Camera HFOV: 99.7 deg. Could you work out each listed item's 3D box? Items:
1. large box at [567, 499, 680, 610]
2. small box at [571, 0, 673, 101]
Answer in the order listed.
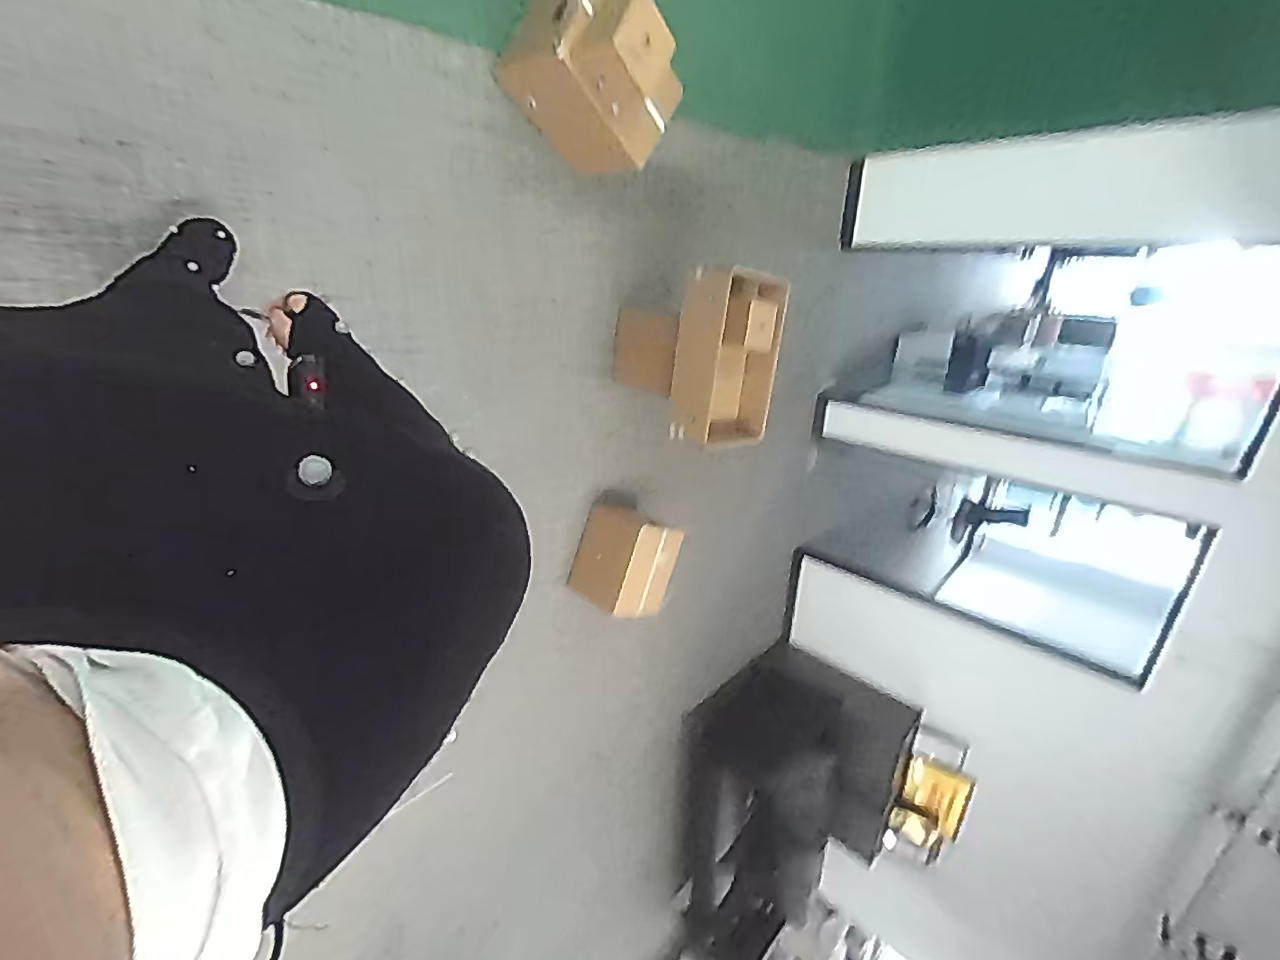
[{"bbox_3d":[-0.076,0.328,2.417,0.320,0.320,0.408,12,96,-51],"label":"large box"},{"bbox_3d":[-0.051,-1.134,1.405,0.168,0.176,0.179,30,85,-51],"label":"small box"}]
